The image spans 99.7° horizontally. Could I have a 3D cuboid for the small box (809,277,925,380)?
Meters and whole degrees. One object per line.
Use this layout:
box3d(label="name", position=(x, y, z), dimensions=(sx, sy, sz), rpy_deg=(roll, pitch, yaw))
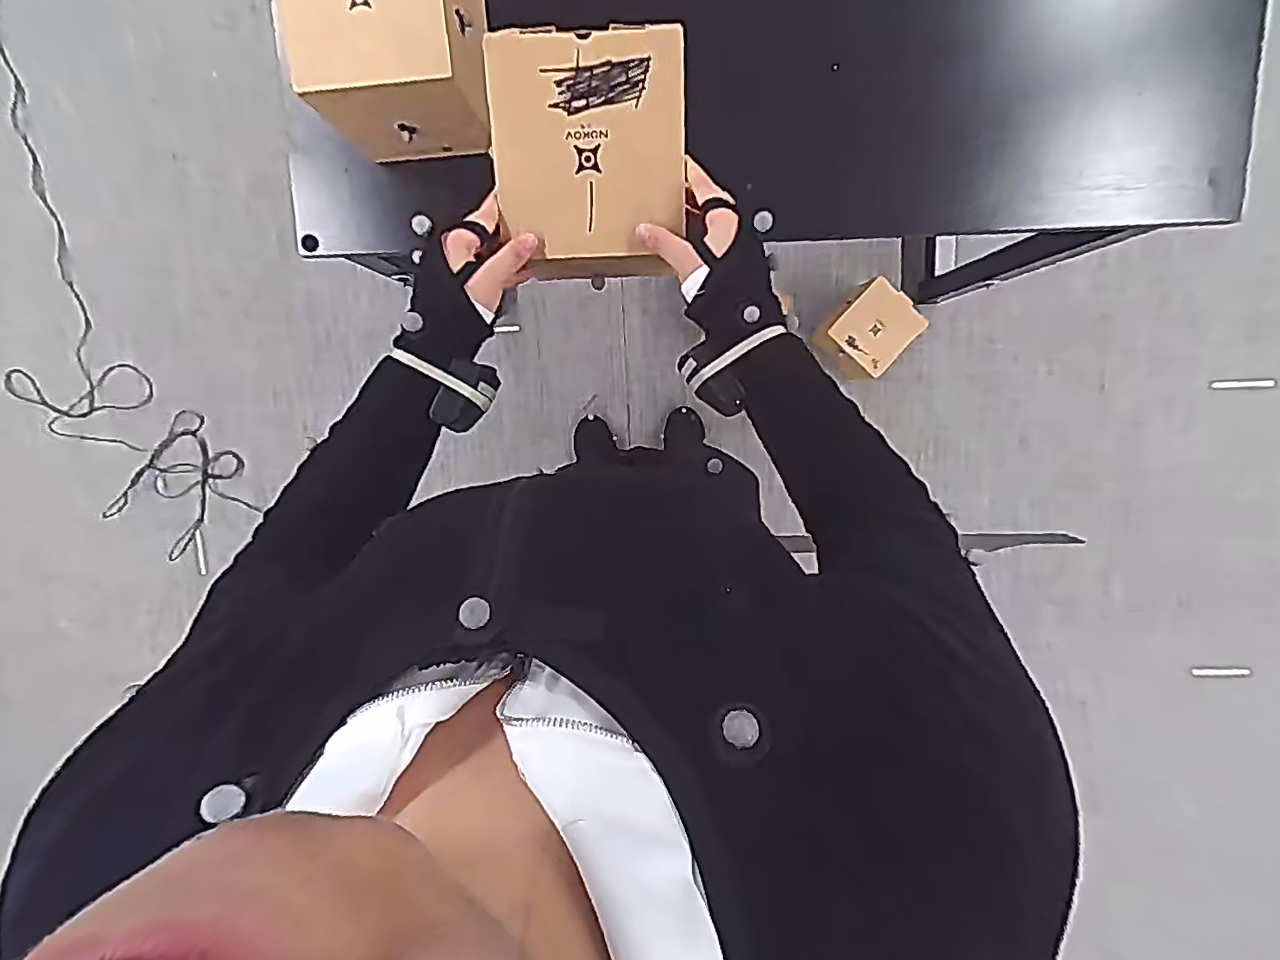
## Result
box3d(label="small box", position=(0.550, -0.366, 1.337), dimensions=(0.168, 0.176, 0.179), rpy_deg=(42, 98, -4))

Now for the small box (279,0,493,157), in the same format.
box3d(label="small box", position=(-0.271, -0.488, 0.607), dimensions=(0.168, 0.176, 0.179), rpy_deg=(-4, 98, 2))

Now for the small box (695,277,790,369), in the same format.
box3d(label="small box", position=(0.247, -0.382, 1.348), dimensions=(0.179, 0.176, 0.168), rpy_deg=(19, 98, 0))

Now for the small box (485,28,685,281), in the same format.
box3d(label="small box", position=(-0.044, -0.301, 0.537), dimensions=(0.168, 0.176, 0.179), rpy_deg=(-2, 105, 1))
